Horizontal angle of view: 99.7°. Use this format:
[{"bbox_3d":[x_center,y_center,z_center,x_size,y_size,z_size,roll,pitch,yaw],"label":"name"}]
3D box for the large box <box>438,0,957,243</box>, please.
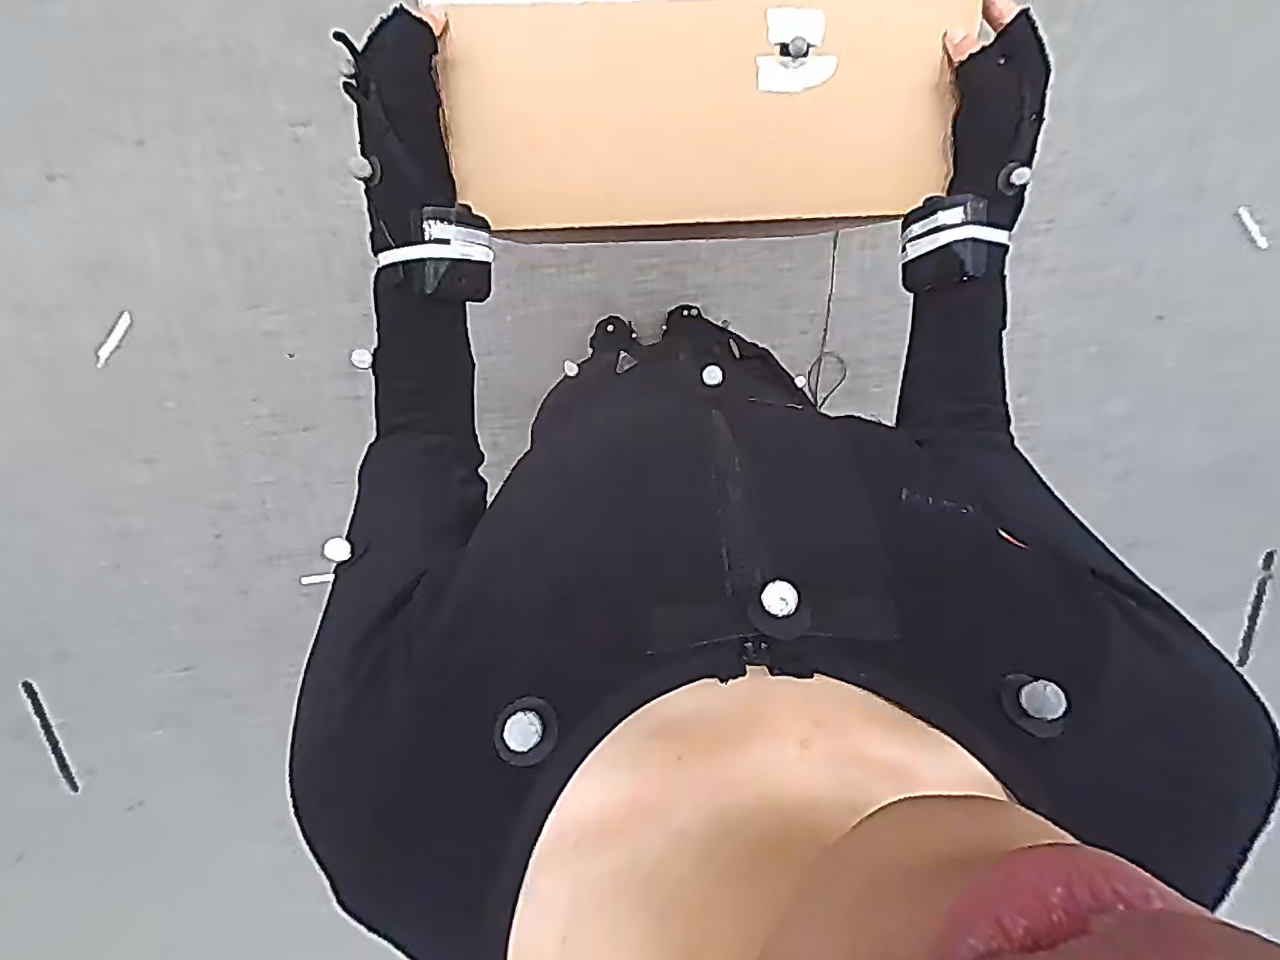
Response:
[{"bbox_3d":[0.036,-0.424,0.544,0.408,0.320,0.320,-4,113,-2],"label":"large box"}]
